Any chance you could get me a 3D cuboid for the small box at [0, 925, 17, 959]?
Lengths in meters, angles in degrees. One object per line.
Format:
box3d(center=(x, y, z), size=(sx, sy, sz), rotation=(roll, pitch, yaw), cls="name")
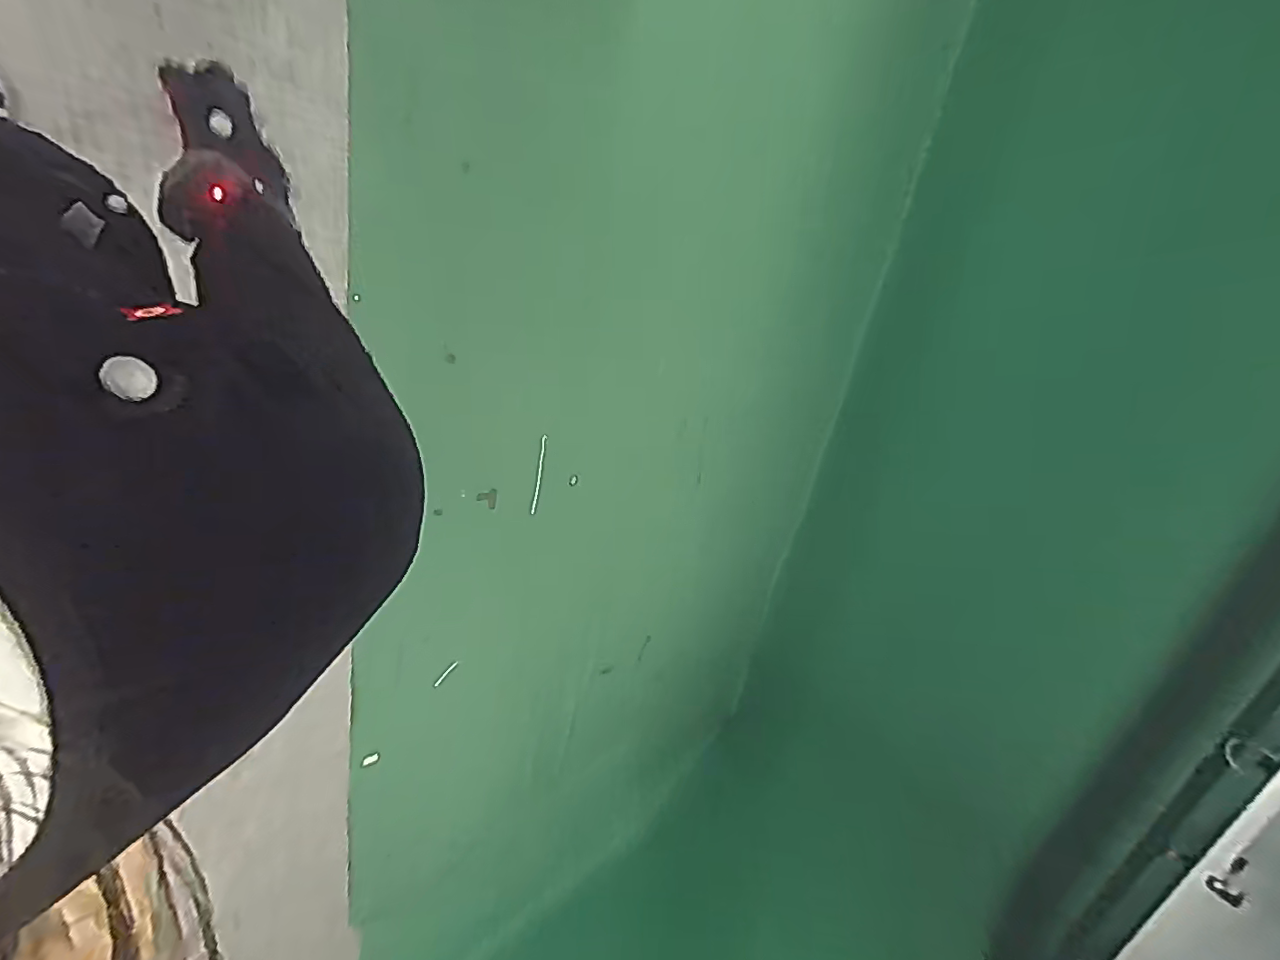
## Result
box3d(center=(-1.526, 1.158, 1.202), size=(0.179, 0.176, 0.168), rotation=(-16, 126, -45), cls="small box")
